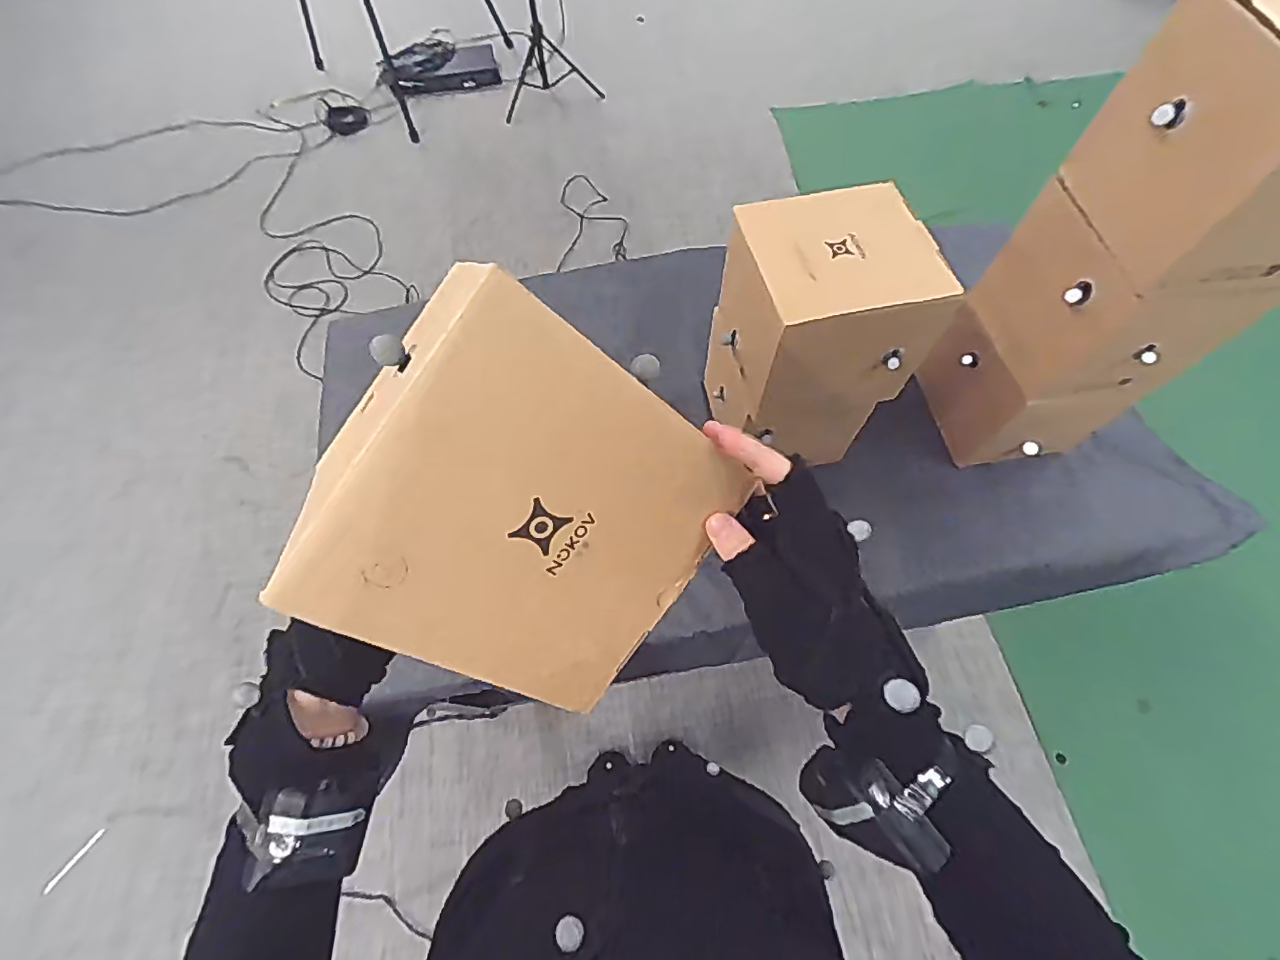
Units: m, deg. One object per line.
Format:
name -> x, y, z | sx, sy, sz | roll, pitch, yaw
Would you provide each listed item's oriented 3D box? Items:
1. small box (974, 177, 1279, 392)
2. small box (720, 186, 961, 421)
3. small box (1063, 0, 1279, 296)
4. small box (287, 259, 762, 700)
small box -> 0.519, -0.212, 0.601 | 0.168, 0.176, 0.179 | -7, 64, -2
small box -> 0.199, -0.186, 0.598 | 0.179, 0.176, 0.168 | -11, 63, -4
small box -> 0.514, -0.283, 0.453 | 0.168, 0.176, 0.179 | -6, 63, -1
small box -> -0.070, -0.008, 0.329 | 0.168, 0.179, 0.176 | -54, 32, 3
